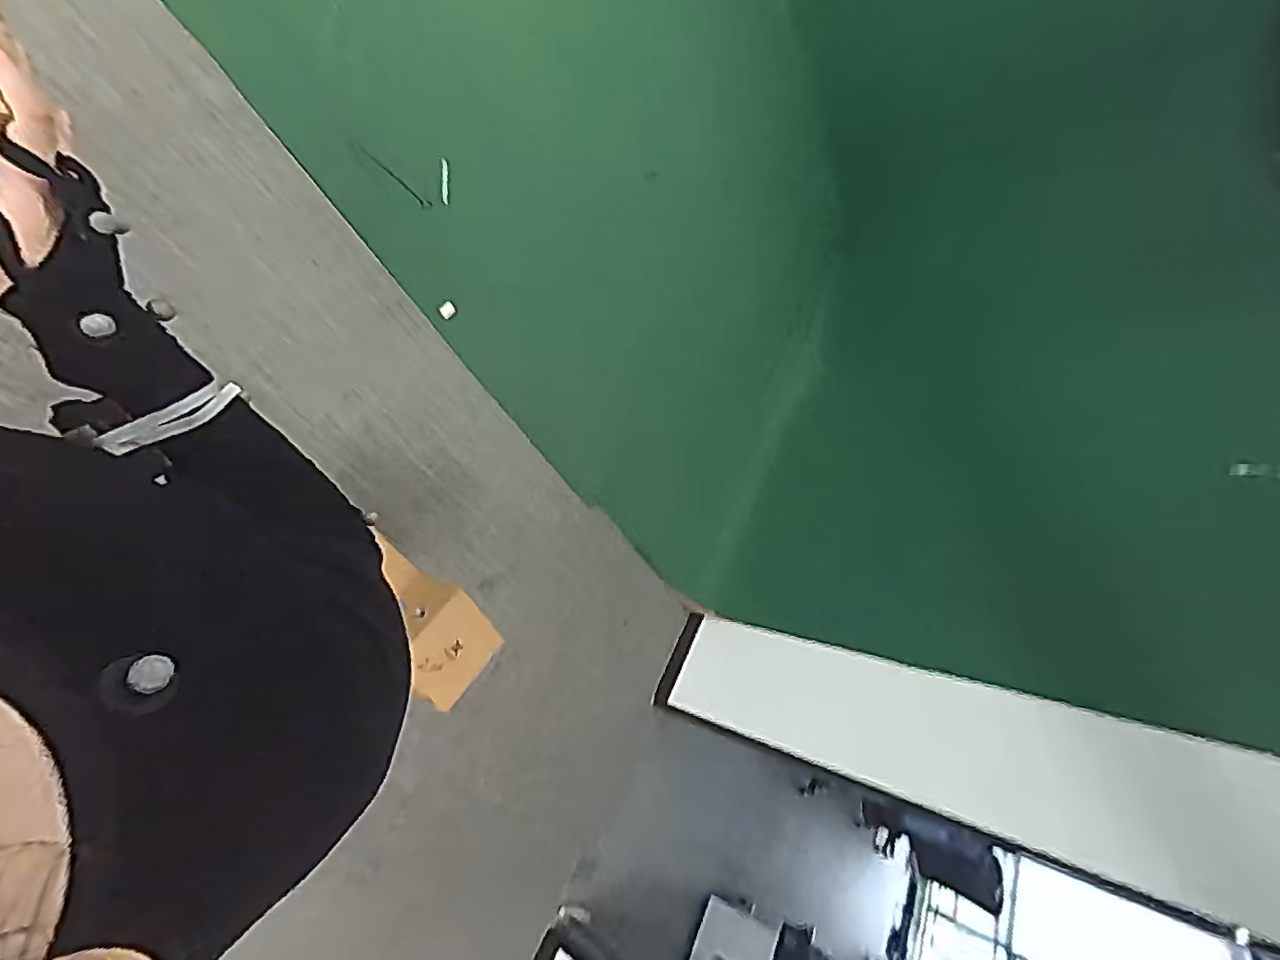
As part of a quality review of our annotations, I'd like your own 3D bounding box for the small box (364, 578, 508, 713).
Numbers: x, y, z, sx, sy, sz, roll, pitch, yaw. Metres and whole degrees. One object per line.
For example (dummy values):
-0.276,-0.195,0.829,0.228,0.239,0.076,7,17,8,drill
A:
-0.407,0.319,1.079,0.179,0.176,0.168,-49,128,-33,small box
